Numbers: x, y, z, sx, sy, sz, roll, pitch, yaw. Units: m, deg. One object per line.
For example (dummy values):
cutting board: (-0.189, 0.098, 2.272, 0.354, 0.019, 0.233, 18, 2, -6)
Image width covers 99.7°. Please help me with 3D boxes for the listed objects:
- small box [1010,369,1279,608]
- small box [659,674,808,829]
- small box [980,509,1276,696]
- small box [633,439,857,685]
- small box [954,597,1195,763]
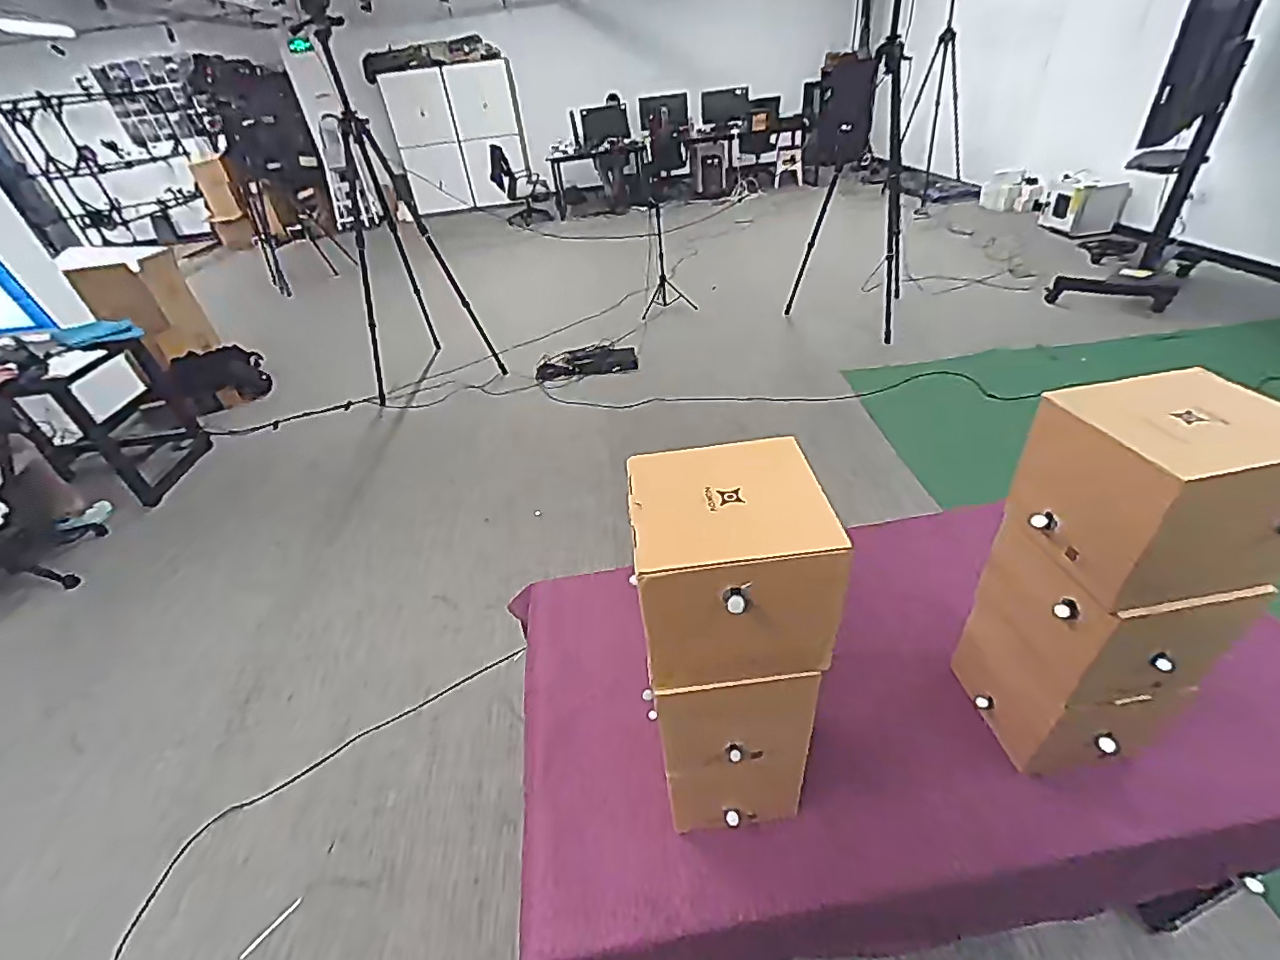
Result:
small box: (0.533, 0.008, 0.556, 0.179, 0.176, 0.168, -10, 36, -1)
small box: (0.115, 0.341, 0.738, 0.168, 0.176, 0.179, -8, 38, 0)
small box: (0.555, 0.139, 0.651, 0.168, 0.176, 0.179, -9, 37, -2)
small box: (0.091, 0.081, 0.539, 0.179, 0.176, 0.168, -8, 38, 1)
small box: (0.576, 0.269, 0.751, 0.168, 0.176, 0.179, -8, 38, -1)
